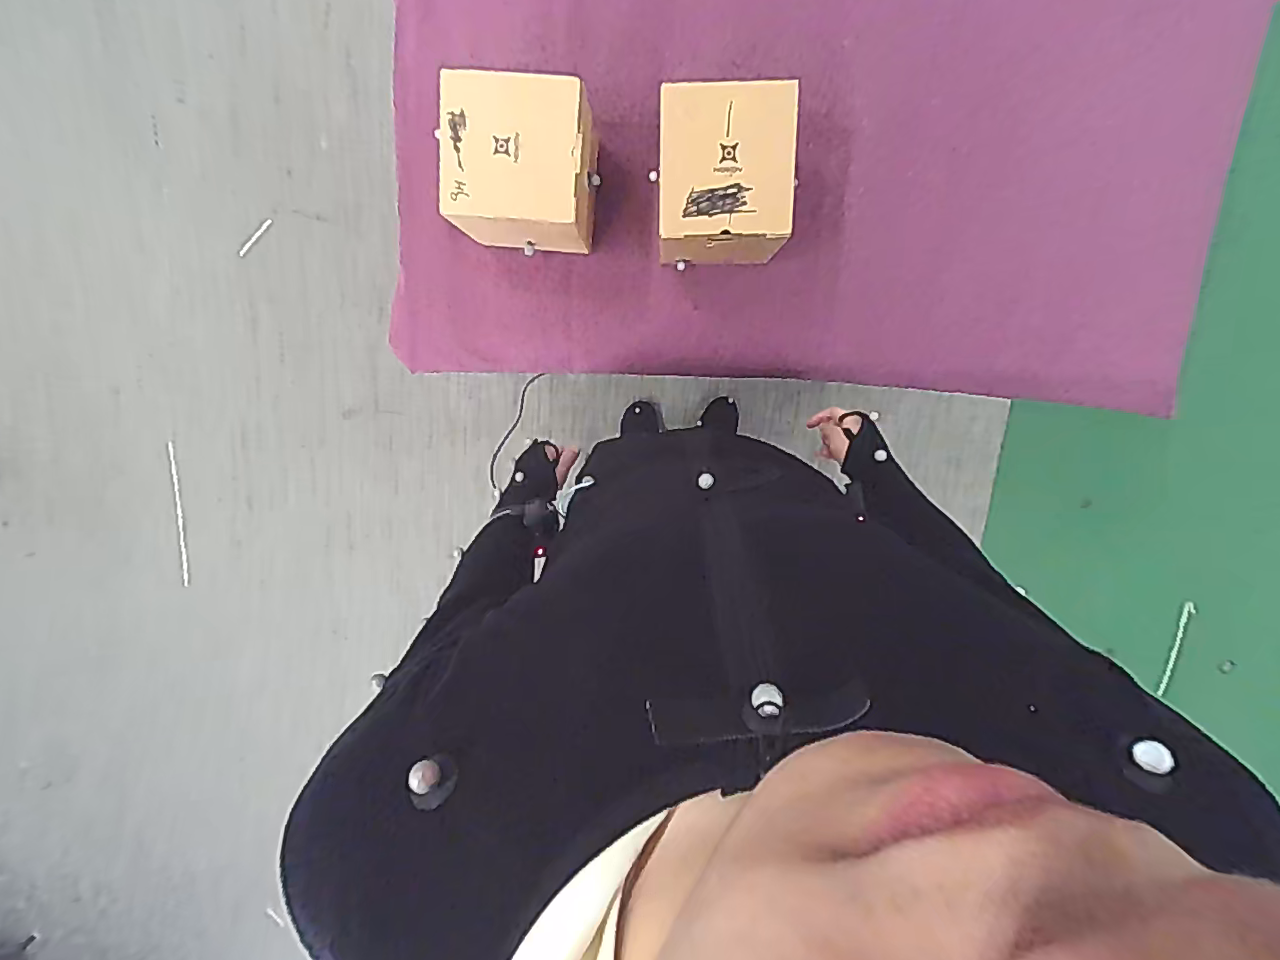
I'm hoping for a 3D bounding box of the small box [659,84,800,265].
[{"bbox_3d":[0.110,-0.397,0.734,0.168,0.176,0.179,0,100,2],"label":"small box"}]

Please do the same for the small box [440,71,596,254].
[{"bbox_3d":[-0.156,-0.416,0.739,0.179,0.176,0.168,5,101,0],"label":"small box"}]
